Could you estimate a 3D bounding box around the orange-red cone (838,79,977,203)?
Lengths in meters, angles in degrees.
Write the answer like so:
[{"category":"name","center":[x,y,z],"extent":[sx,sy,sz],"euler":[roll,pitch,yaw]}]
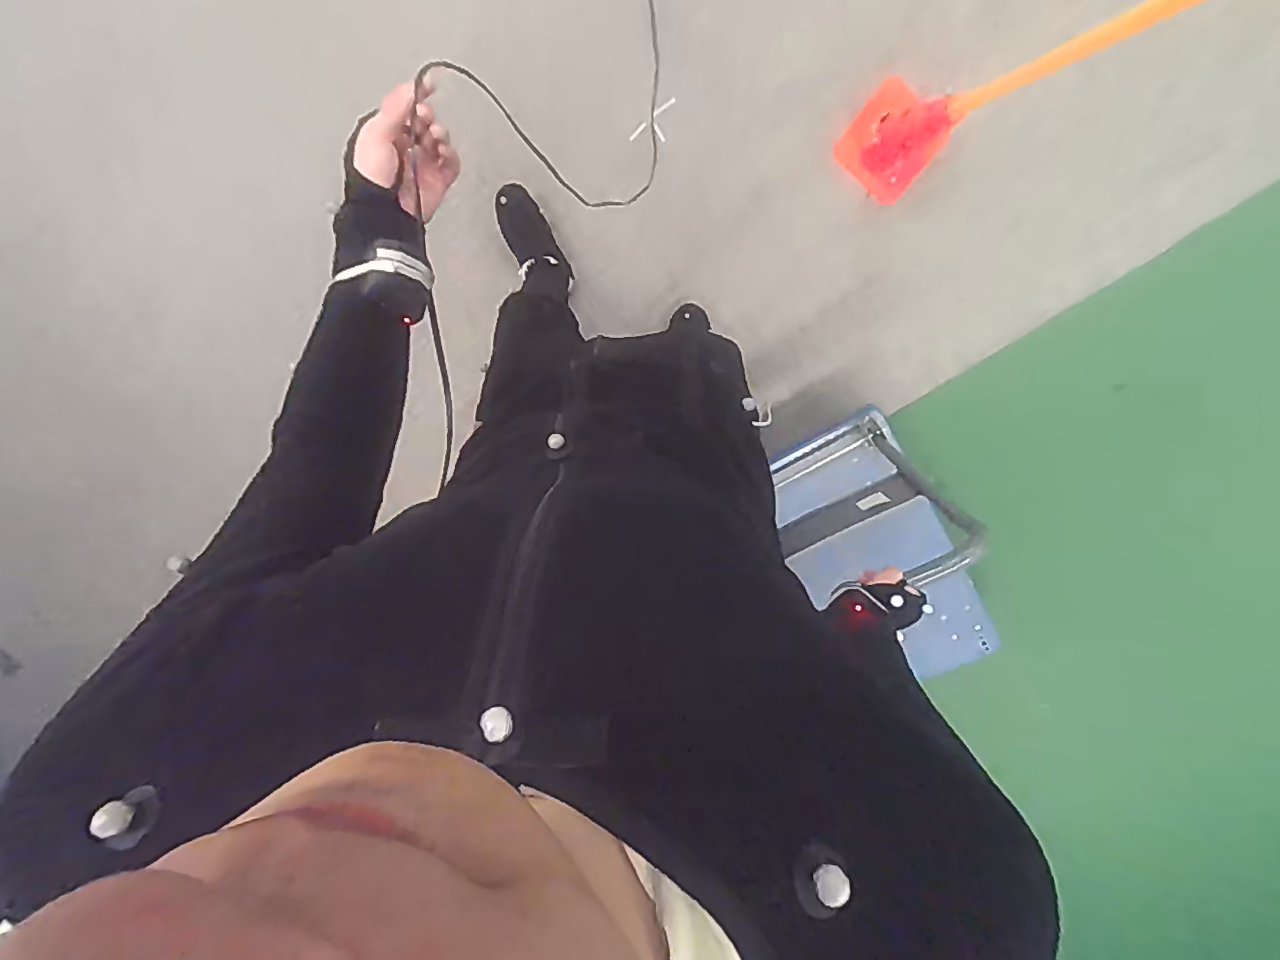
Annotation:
[{"category":"orange-red cone","center":[0.584,-0.723,1.109],"extent":[0.198,0.360,0.199],"euler":[37,110,-11]}]
